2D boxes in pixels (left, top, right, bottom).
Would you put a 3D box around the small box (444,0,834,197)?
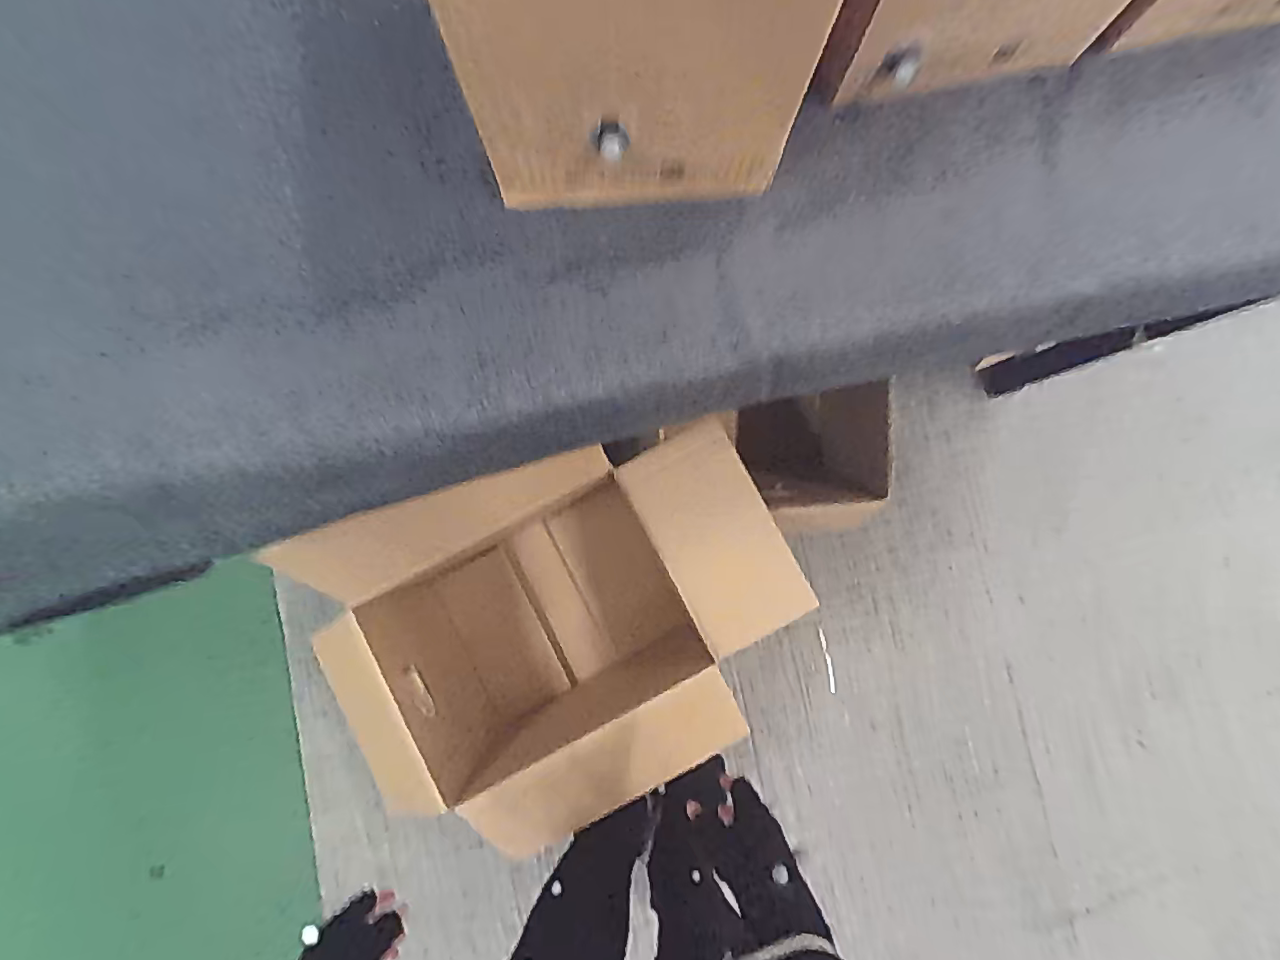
[{"bbox_3d":[-0.007,-0.272,0.264,0.168,0.176,0.179,-4,85,-1],"label":"small box"}]
